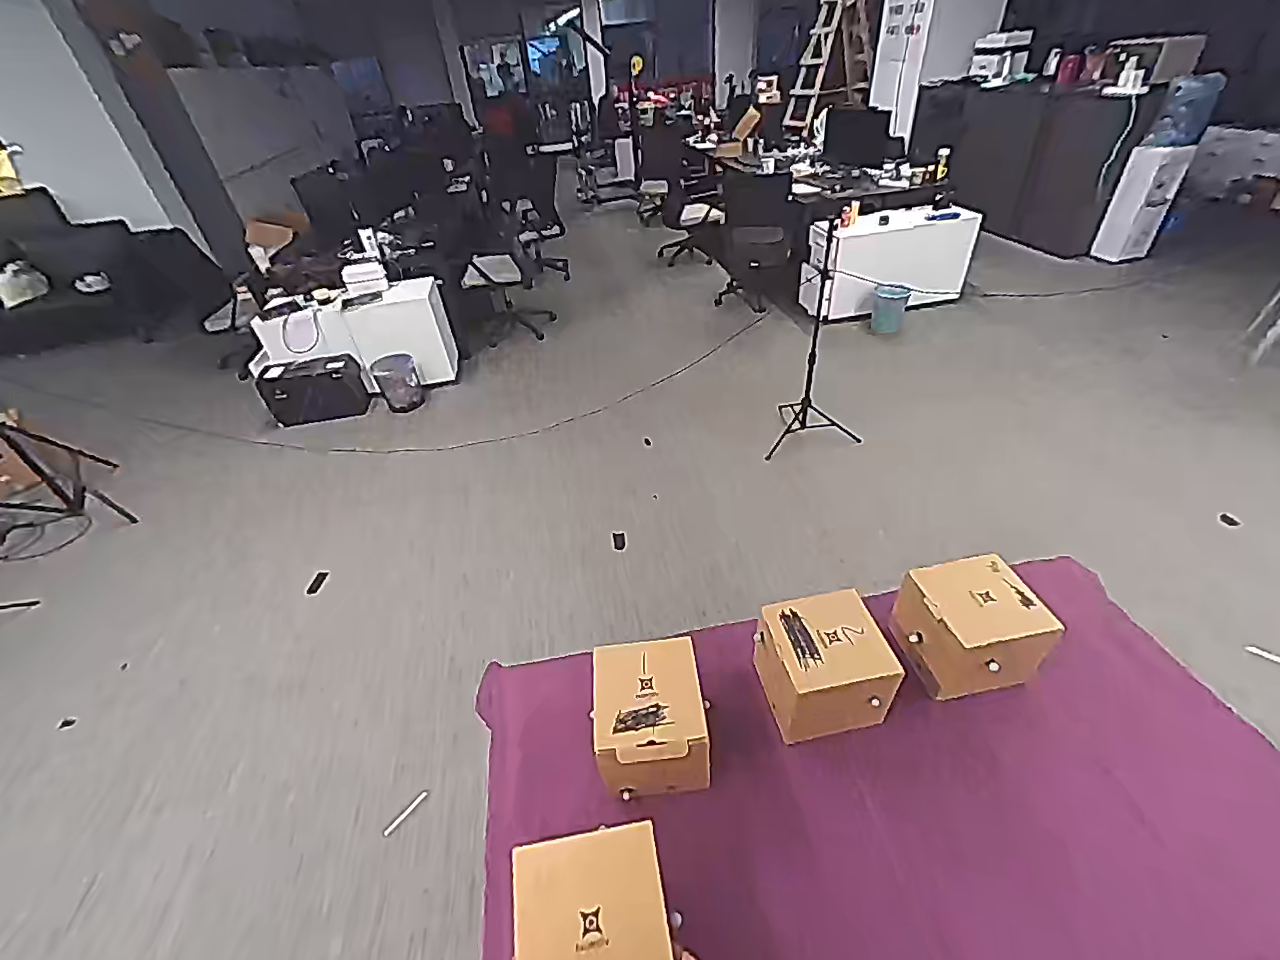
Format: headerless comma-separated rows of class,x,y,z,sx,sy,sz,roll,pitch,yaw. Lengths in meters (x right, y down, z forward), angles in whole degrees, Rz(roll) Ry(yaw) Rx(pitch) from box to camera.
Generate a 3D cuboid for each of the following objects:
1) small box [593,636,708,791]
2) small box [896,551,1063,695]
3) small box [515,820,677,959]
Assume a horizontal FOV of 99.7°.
small box,0.017,0.380,0.873,0.168,0.176,0.179,-6,39,-1
small box,0.577,0.254,0.952,0.179,0.176,0.168,-10,41,-4
small box,-0.050,0.526,0.631,0.168,0.176,0.179,-8,50,-7
